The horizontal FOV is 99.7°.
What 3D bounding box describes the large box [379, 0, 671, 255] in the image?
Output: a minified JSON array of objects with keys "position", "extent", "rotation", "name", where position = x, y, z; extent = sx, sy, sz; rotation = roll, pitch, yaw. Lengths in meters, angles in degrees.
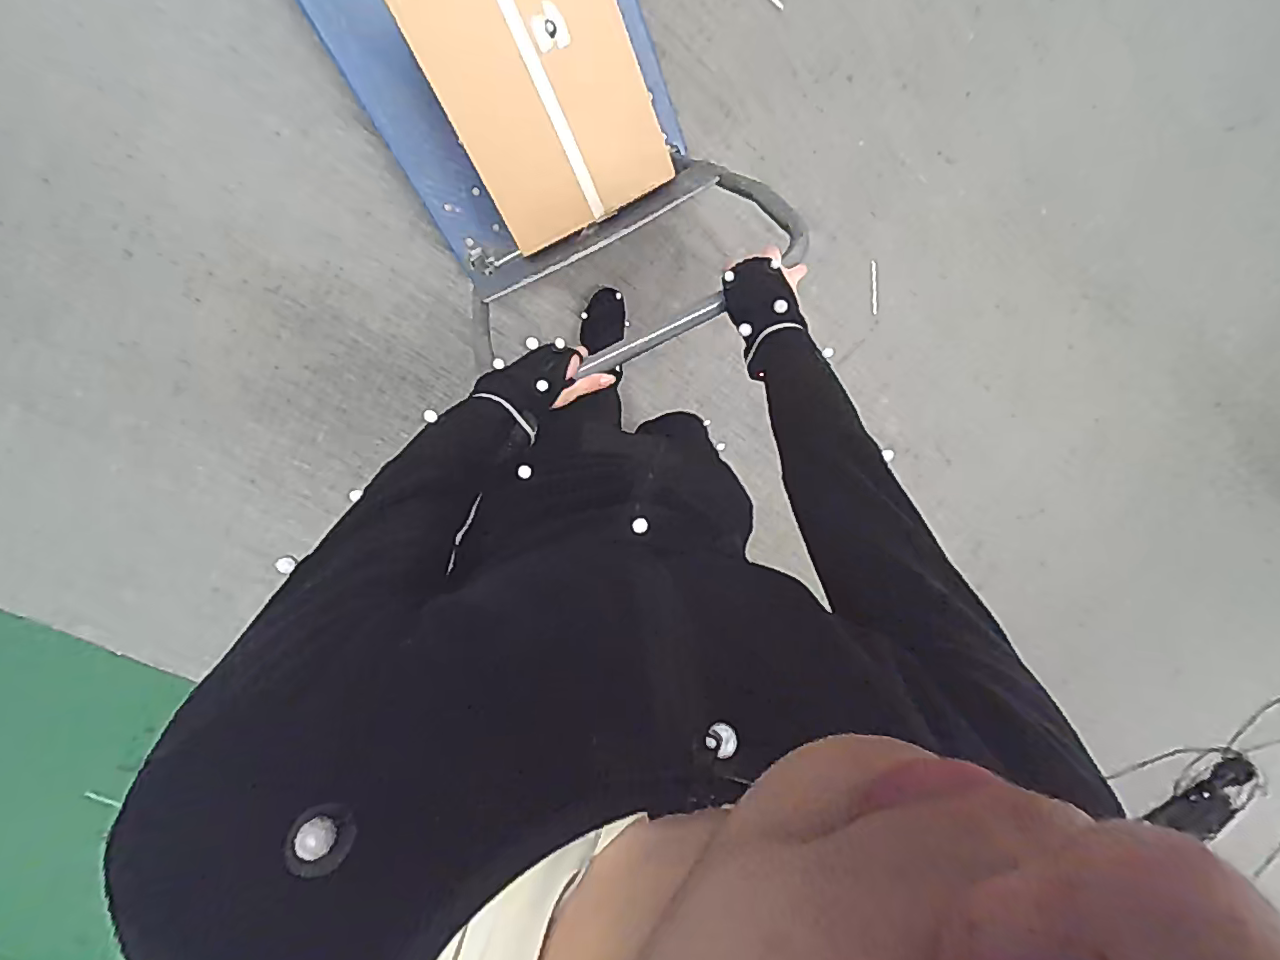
[{"position":[-0.187,-0.697,0.997],"extent":[0.320,0.320,0.408],"rotation":[-28,123,4],"name":"large box"}]
